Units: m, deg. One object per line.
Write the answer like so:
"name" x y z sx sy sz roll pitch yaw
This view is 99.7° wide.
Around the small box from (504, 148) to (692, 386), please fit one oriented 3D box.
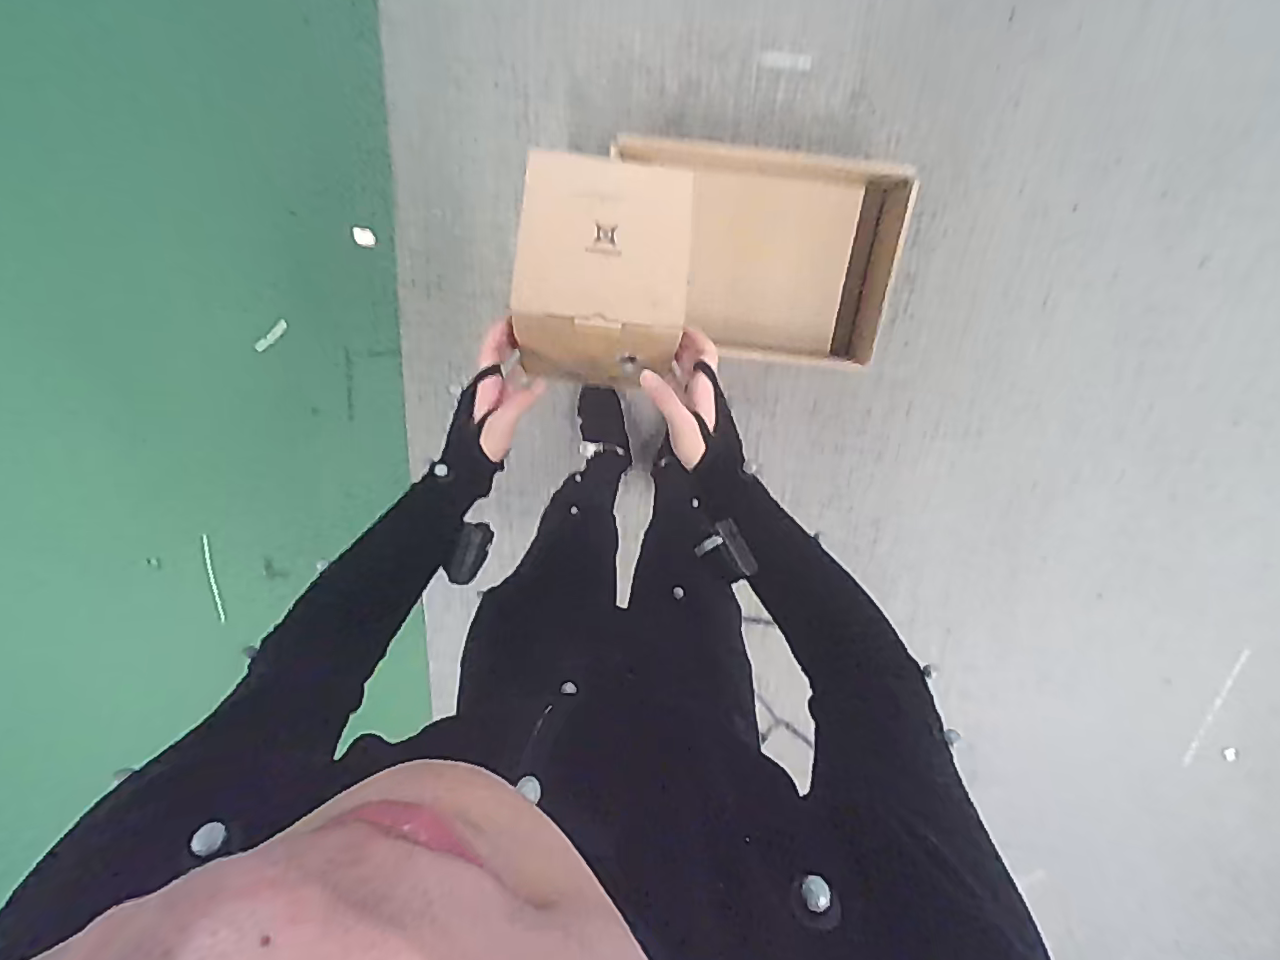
"small box" -0.043 -0.216 0.592 0.168 0.176 0.179 6 78 -5
